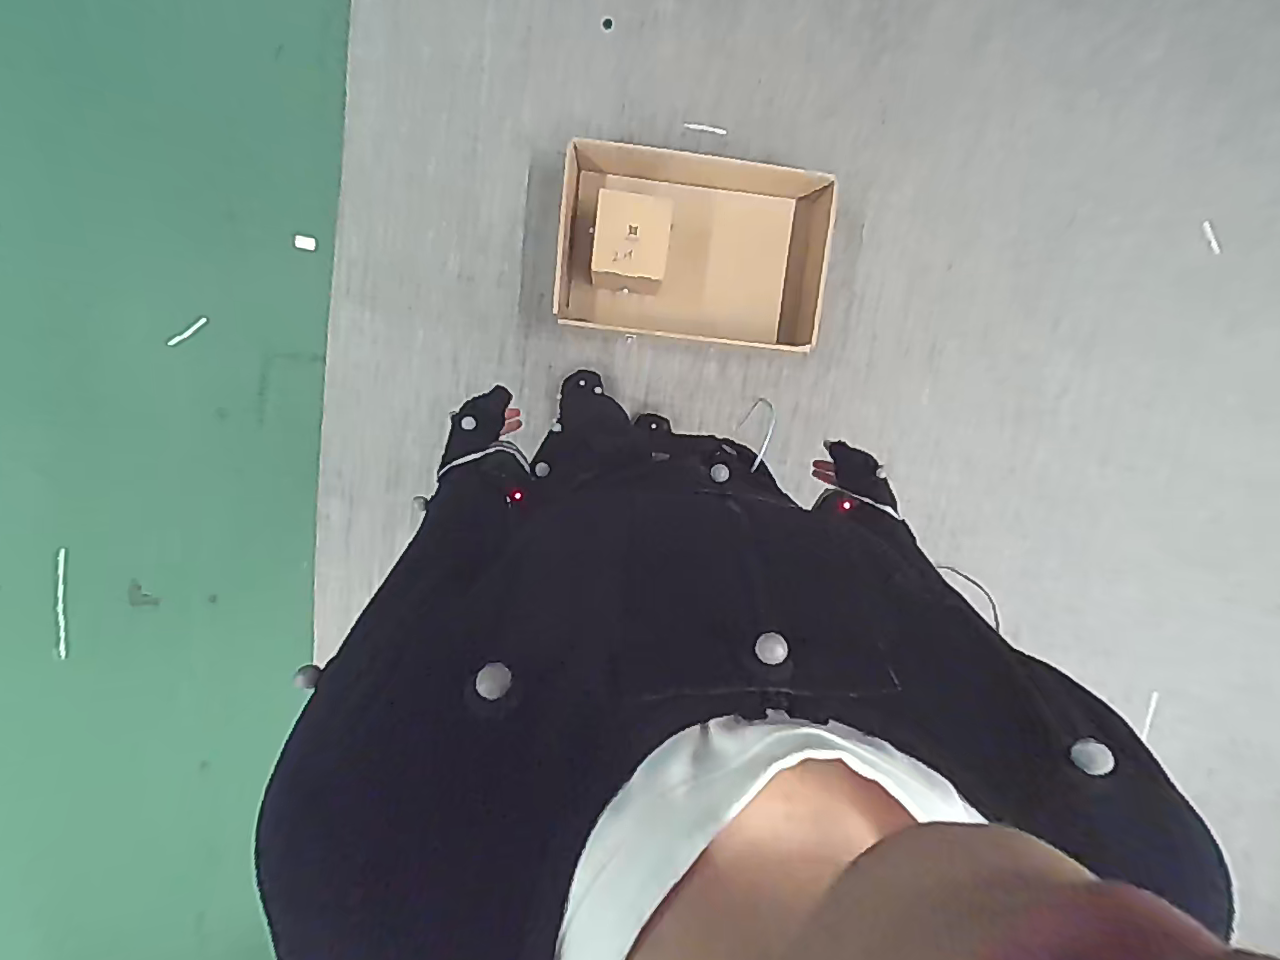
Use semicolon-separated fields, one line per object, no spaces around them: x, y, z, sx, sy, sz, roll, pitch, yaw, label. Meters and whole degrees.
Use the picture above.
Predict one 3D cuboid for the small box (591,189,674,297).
-0.023;-0.541;1.256;0.168;0.176;0.179;7;97;-4;small box
